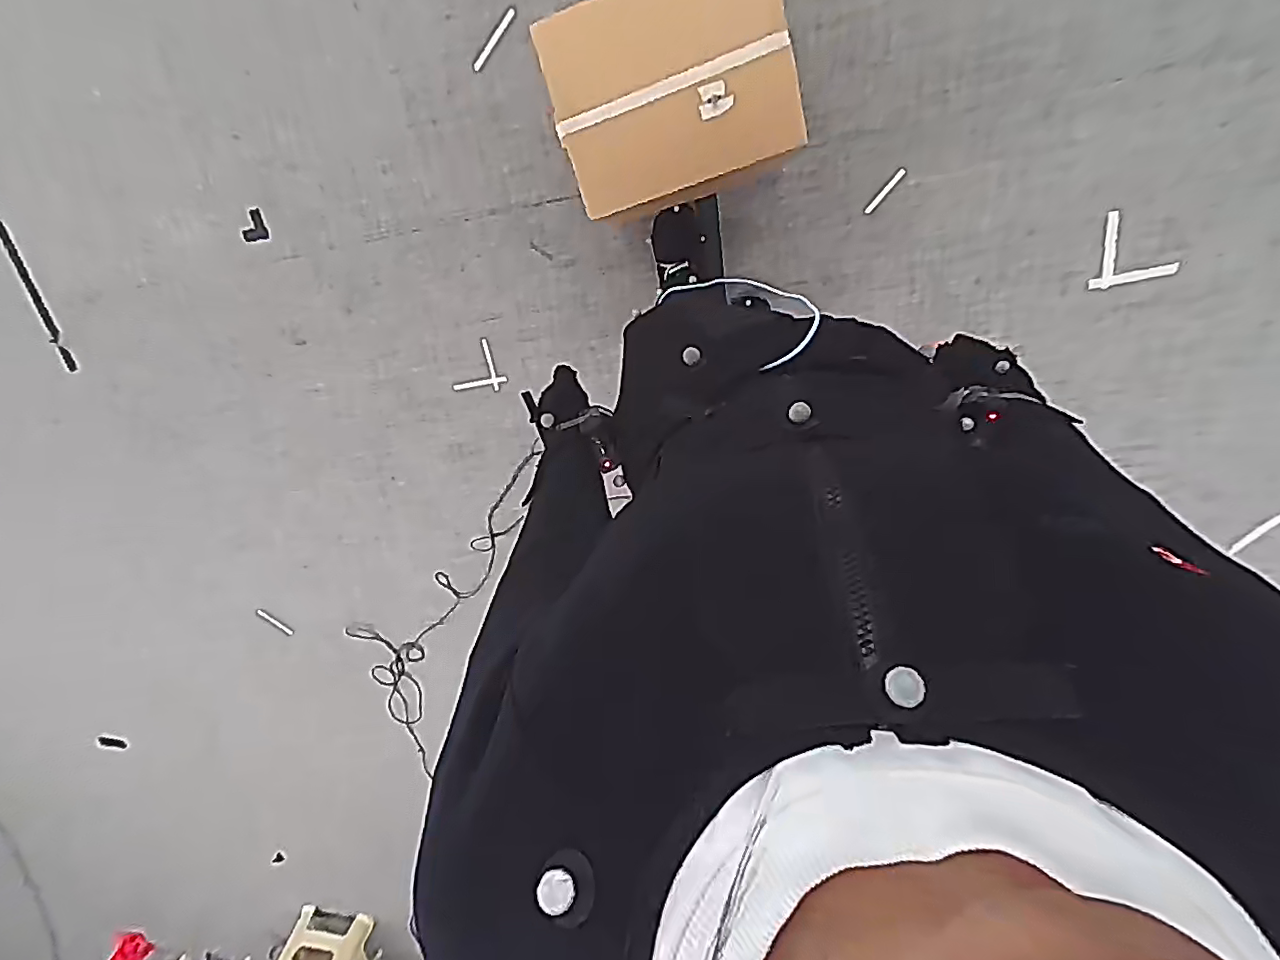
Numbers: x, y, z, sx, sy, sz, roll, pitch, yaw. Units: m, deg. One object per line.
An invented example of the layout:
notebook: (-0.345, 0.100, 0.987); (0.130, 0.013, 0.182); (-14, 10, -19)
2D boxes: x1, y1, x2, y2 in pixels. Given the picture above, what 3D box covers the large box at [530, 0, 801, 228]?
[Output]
large box: (0.058, -0.721, 1.050); (0.408, 0.320, 0.320); (-14, 111, 11)
